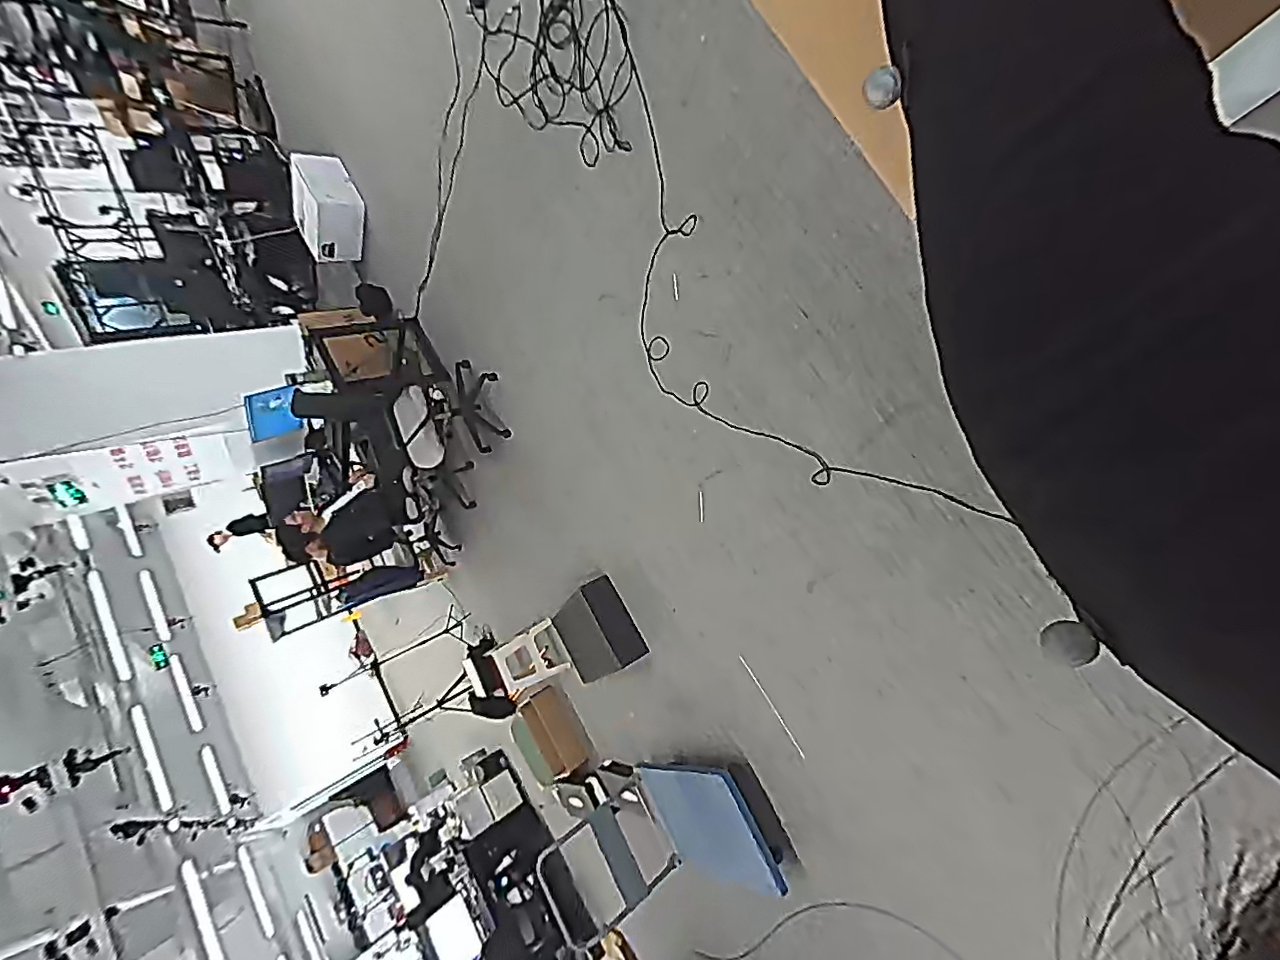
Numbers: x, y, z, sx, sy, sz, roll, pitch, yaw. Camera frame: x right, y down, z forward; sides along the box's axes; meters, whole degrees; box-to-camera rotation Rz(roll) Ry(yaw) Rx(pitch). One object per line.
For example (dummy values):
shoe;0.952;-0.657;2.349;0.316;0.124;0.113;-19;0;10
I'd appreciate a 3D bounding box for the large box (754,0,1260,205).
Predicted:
large box;0.373;-0.562;0.574;0.408;0.320;0.320;61;142;11
